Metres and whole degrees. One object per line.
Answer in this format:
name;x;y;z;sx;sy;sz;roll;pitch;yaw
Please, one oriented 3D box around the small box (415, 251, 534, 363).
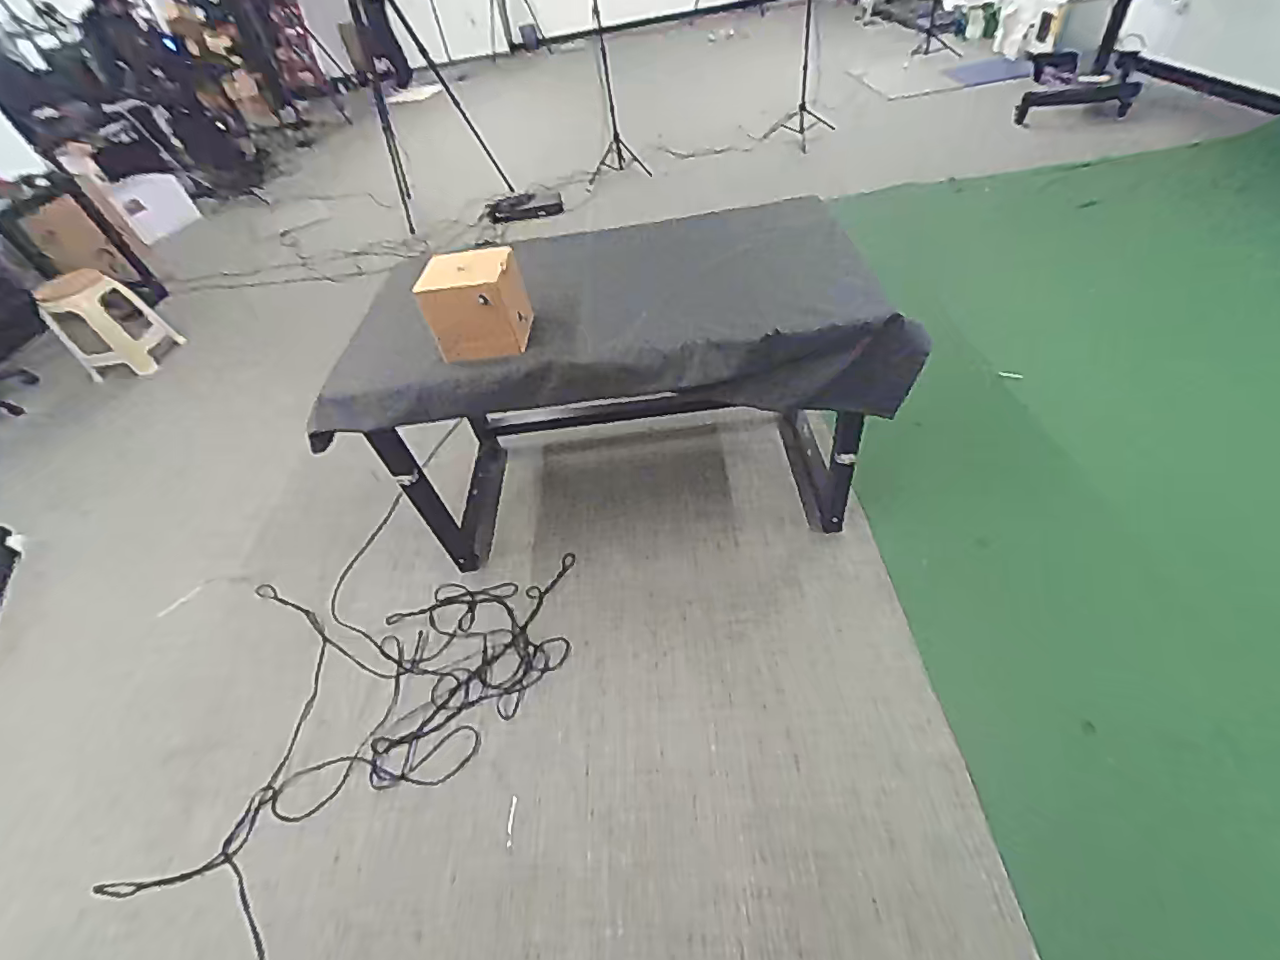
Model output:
small box;-0.344;-0.366;1.159;0.179;0.176;0.168;-5;45;5
